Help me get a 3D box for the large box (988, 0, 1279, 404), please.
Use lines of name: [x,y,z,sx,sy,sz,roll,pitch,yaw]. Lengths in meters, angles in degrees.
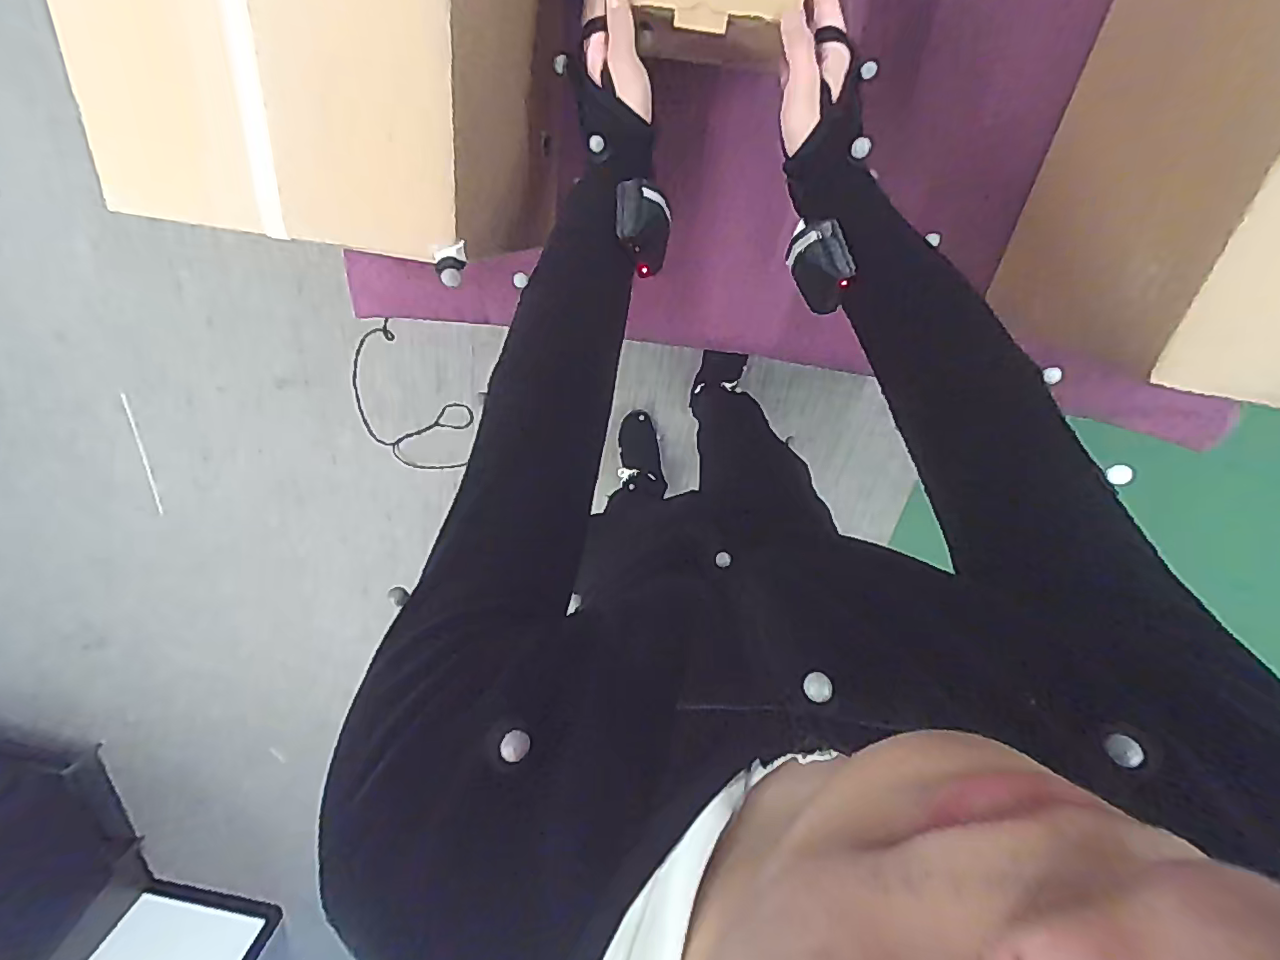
large box: [0.596,-0.292,0.463,0.320,0.320,0.408,11,117,3]
